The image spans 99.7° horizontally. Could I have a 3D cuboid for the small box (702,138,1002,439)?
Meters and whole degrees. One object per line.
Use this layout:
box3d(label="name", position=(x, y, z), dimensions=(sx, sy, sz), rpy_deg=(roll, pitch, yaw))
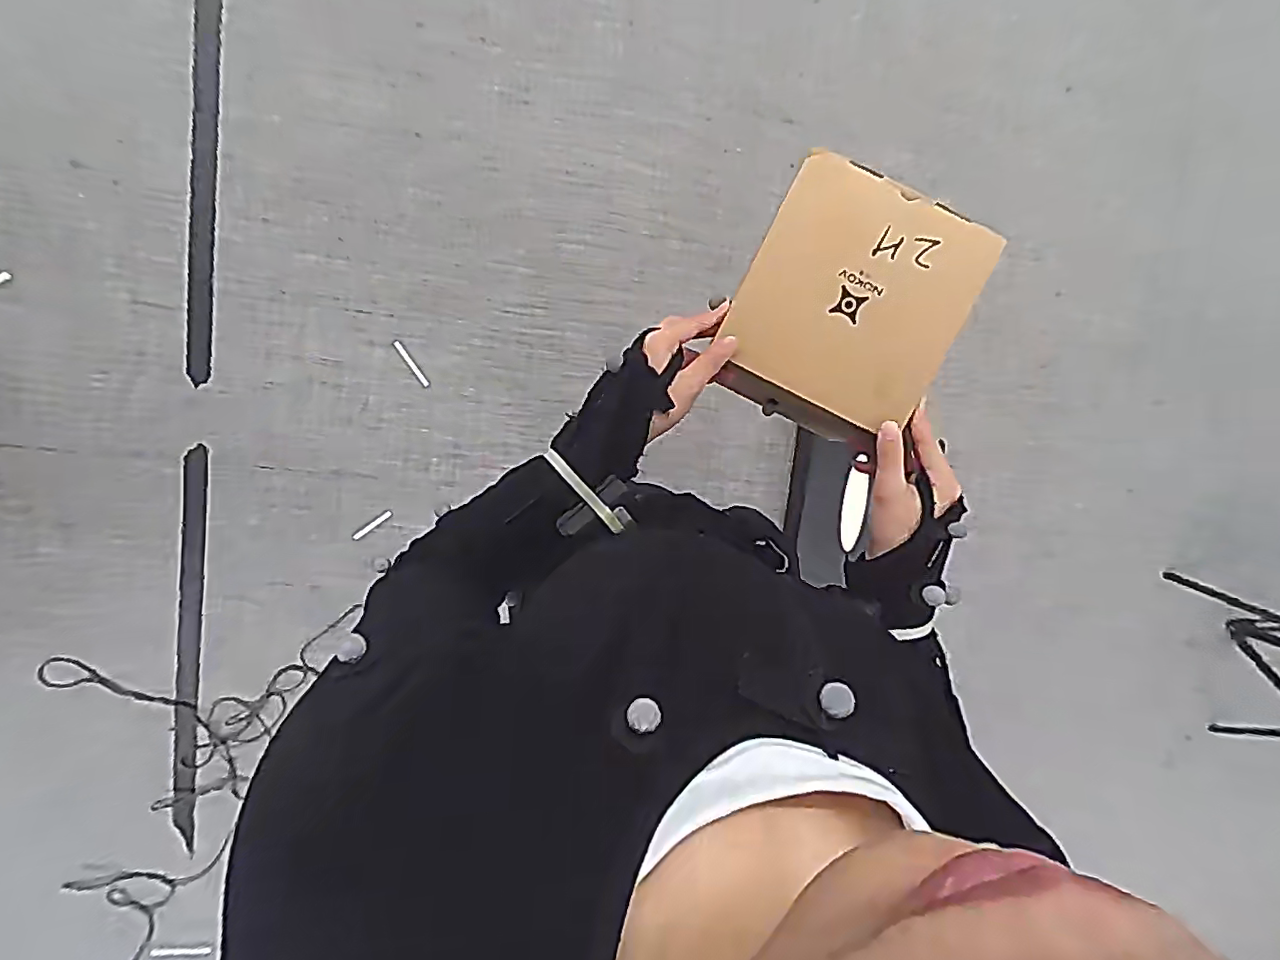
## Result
box3d(label="small box", position=(0.165, -0.150, 0.489), dimensions=(0.168, 0.176, 0.179), rpy_deg=(27, 95, 0))
